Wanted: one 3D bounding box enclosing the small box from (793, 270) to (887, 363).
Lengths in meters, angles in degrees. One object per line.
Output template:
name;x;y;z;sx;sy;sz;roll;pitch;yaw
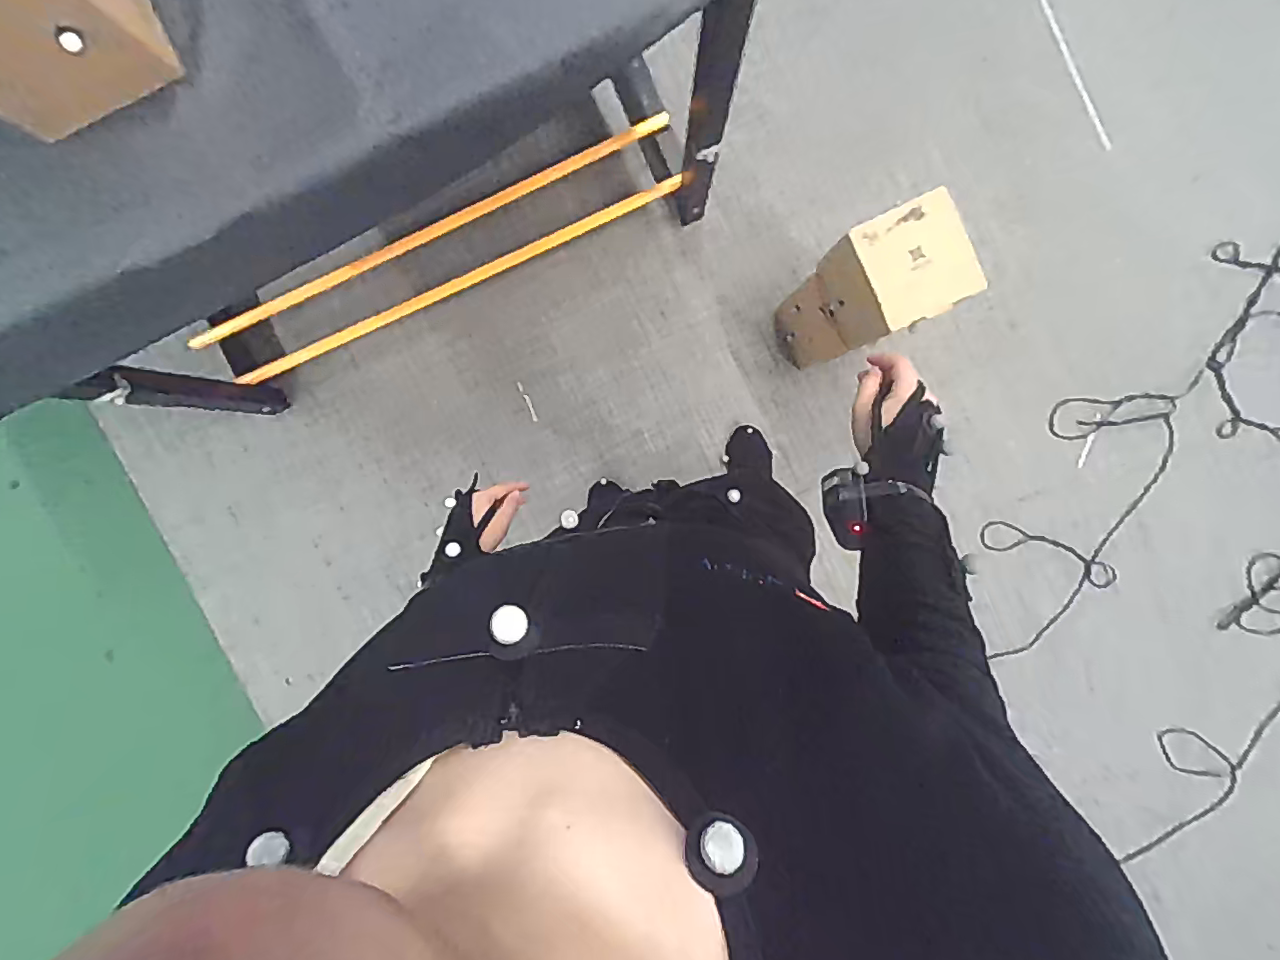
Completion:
small box;0.425;-0.352;1.083;0.179;0.176;0.168;-27;93;1

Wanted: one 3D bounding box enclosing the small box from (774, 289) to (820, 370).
small box;0.435;-0.371;1.246;0.179;0.176;0.168;-24;92;1

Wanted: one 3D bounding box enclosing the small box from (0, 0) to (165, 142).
small box;-0.616;-0.476;0.517;0.179;0.176;0.168;-26;91;2

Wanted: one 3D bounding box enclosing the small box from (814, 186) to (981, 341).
small box;0.425;-0.349;0.918;0.168;0.176;0.179;-25;94;0
